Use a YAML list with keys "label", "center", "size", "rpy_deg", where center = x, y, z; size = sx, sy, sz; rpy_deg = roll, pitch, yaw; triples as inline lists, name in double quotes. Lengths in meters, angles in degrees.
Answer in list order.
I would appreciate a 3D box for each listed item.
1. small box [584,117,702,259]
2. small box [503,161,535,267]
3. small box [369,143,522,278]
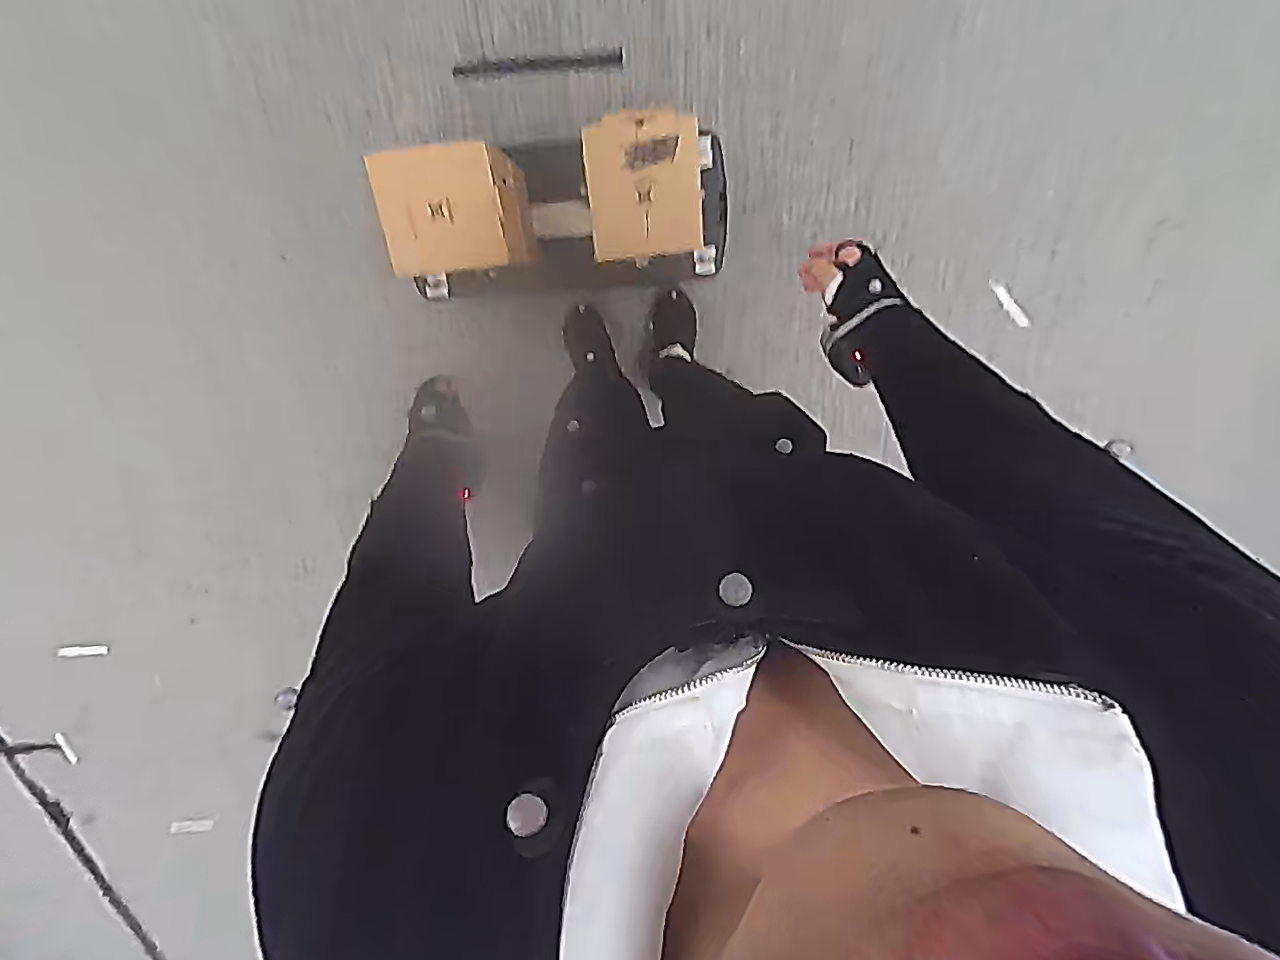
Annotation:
- label: "small box"
  center: [0.004, -0.454, 0.865]
  size: [0.168, 0.176, 0.179]
  rpy_deg: [-6, 113, 1]
- label: "small box"
  center: [-0.300, -0.488, 1.019]
  size: [0.179, 0.176, 0.168]
  rpy_deg: [-7, 113, -1]
- label: "small box"
  center: [-0.294, -0.423, 0.867]
  size: [0.179, 0.176, 0.168]
  rpy_deg: [-7, 112, 1]
